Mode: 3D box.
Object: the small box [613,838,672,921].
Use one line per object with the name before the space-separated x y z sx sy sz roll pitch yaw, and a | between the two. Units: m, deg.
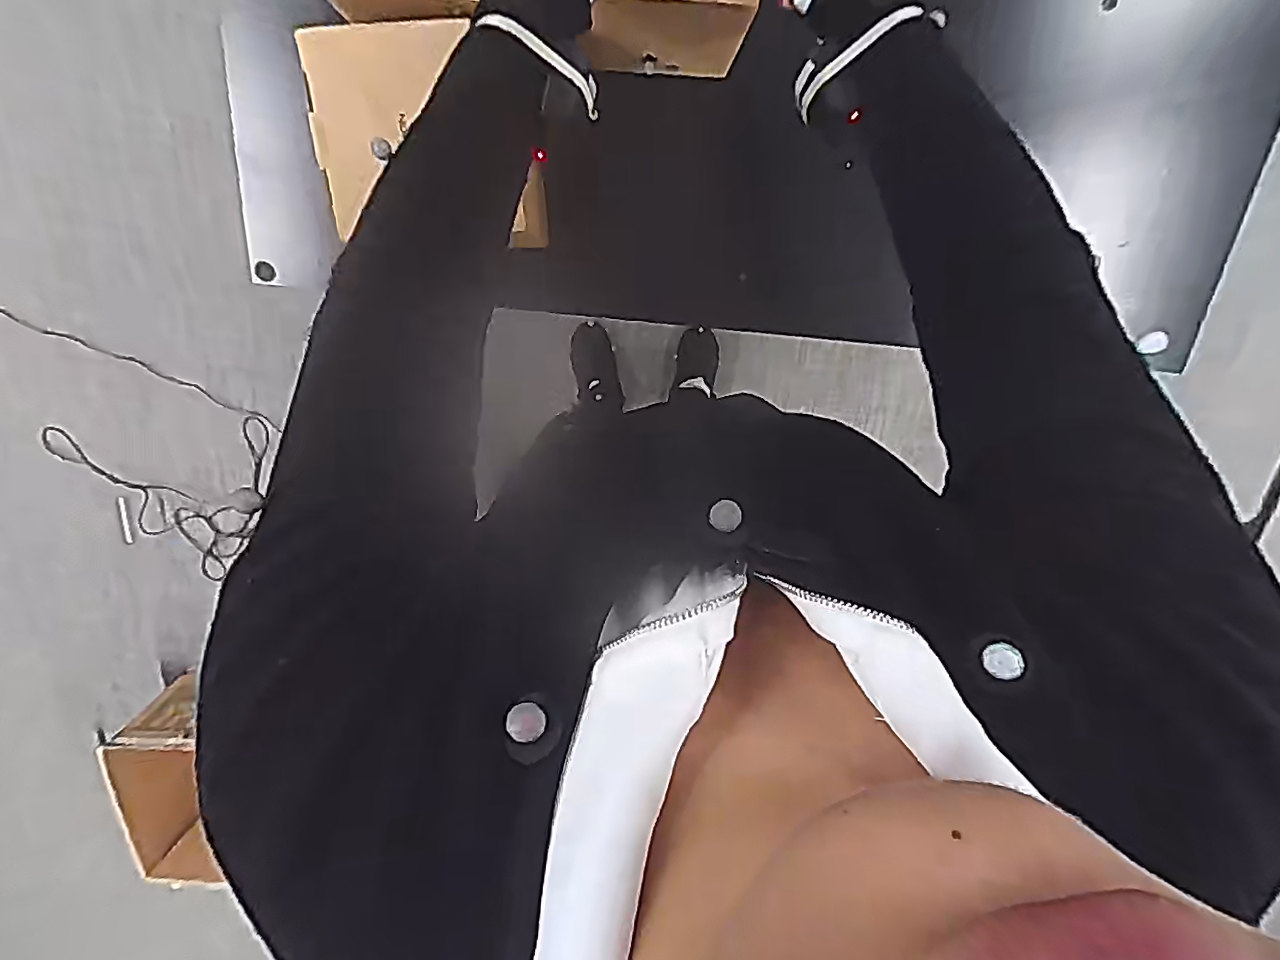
small box | 0.006 1.391 1.890 0.179 0.176 0.168 9 106 -4
